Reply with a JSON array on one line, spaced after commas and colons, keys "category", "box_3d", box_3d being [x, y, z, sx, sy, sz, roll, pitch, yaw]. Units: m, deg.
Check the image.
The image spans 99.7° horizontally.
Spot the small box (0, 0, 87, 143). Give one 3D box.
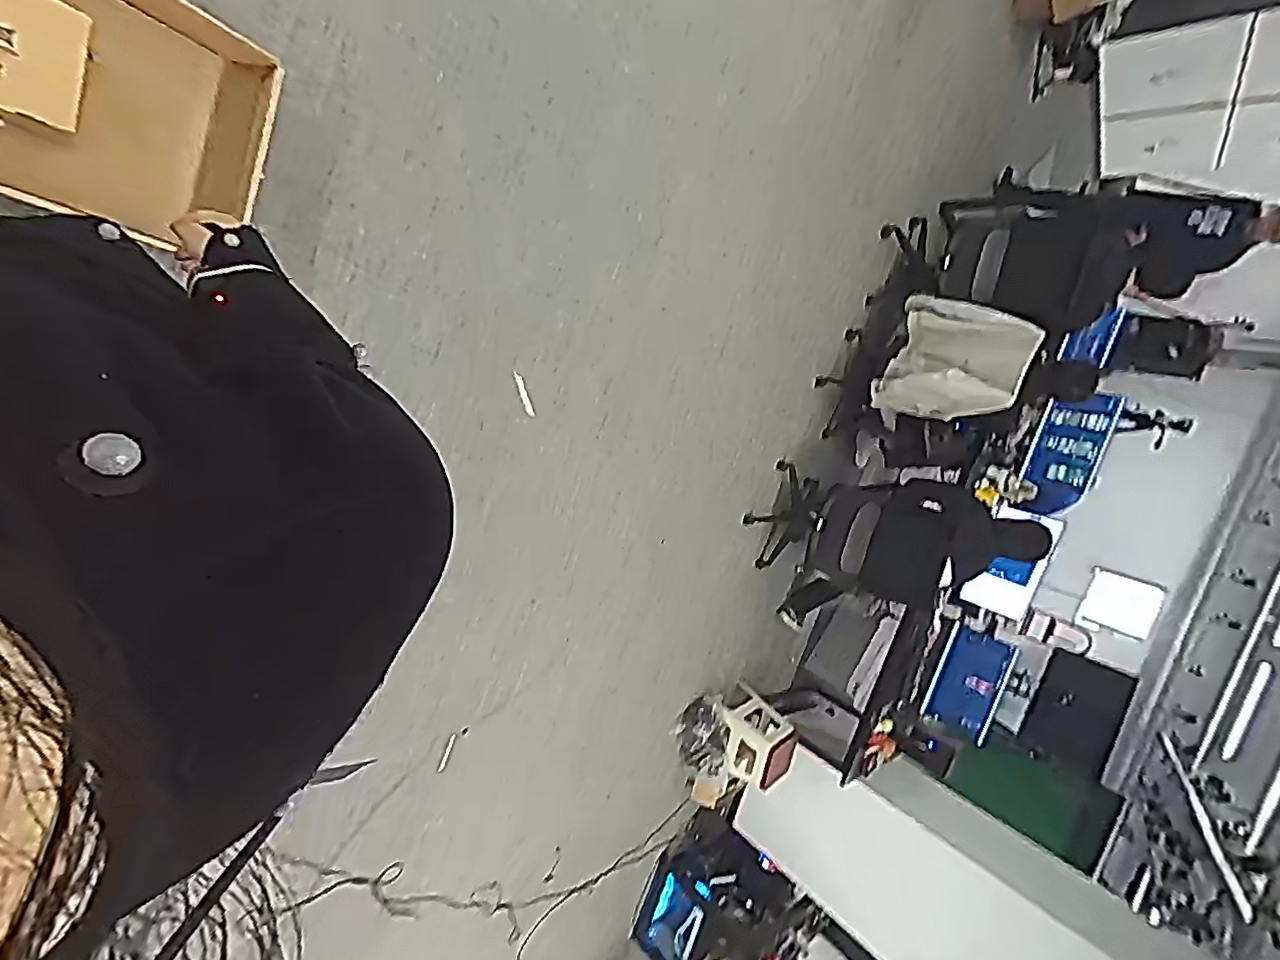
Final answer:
[{"category": "small box", "box_3d": [-0.960, -0.643, 0.809, 0.168, 0.176, 0.179, 9, 100, -47]}]
